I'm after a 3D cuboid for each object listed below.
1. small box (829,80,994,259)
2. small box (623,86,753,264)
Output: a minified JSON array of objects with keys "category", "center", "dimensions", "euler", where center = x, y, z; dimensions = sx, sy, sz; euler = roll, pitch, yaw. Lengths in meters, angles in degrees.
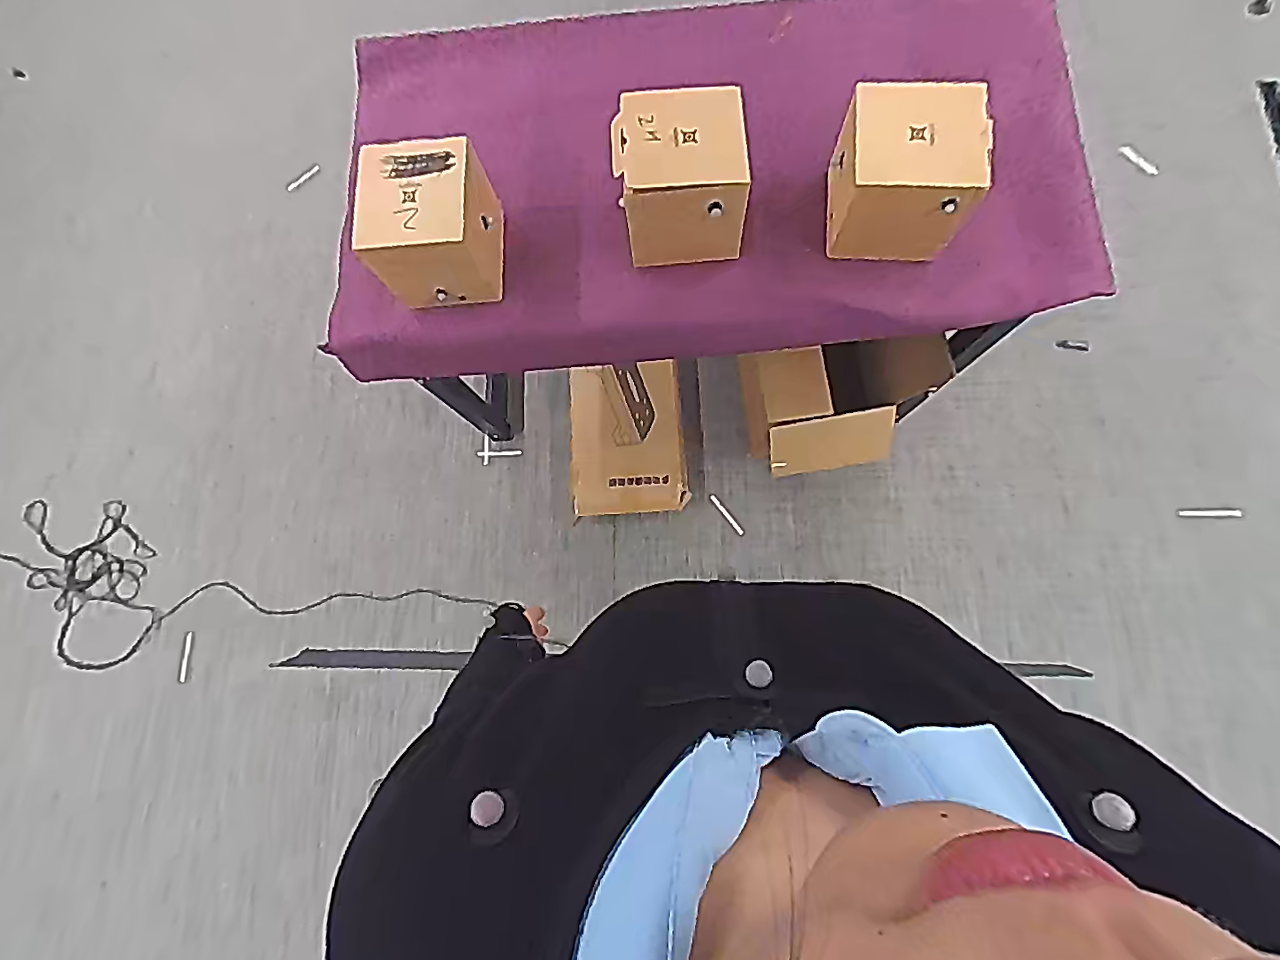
[{"category":"small box","center":[0.387,-0.450,0.802],"dimensions":[0.179,0.176,0.168],"euler":[4,79,5]},{"category":"small box","center":[0.069,-0.455,0.829],"dimensions":[0.179,0.176,0.168],"euler":[-3,76,4]}]
